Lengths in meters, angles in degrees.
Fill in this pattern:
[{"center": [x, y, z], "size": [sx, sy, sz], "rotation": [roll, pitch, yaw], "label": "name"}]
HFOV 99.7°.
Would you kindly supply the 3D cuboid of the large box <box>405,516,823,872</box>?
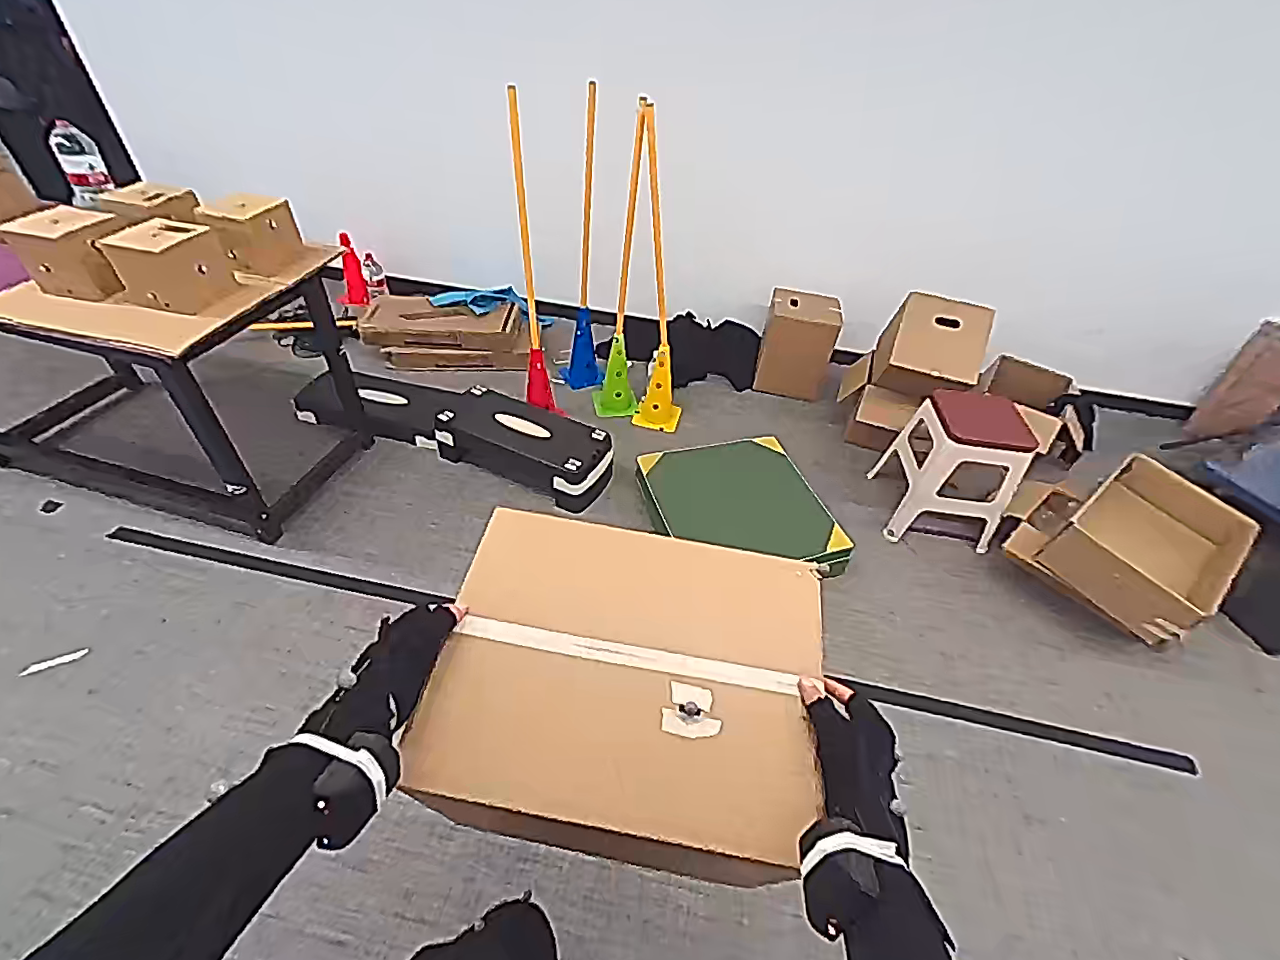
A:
[{"center": [-0.018, 0.283, 0.707], "size": [0.408, 0.320, 0.320], "rotation": [10, 52, 3], "label": "large box"}]
